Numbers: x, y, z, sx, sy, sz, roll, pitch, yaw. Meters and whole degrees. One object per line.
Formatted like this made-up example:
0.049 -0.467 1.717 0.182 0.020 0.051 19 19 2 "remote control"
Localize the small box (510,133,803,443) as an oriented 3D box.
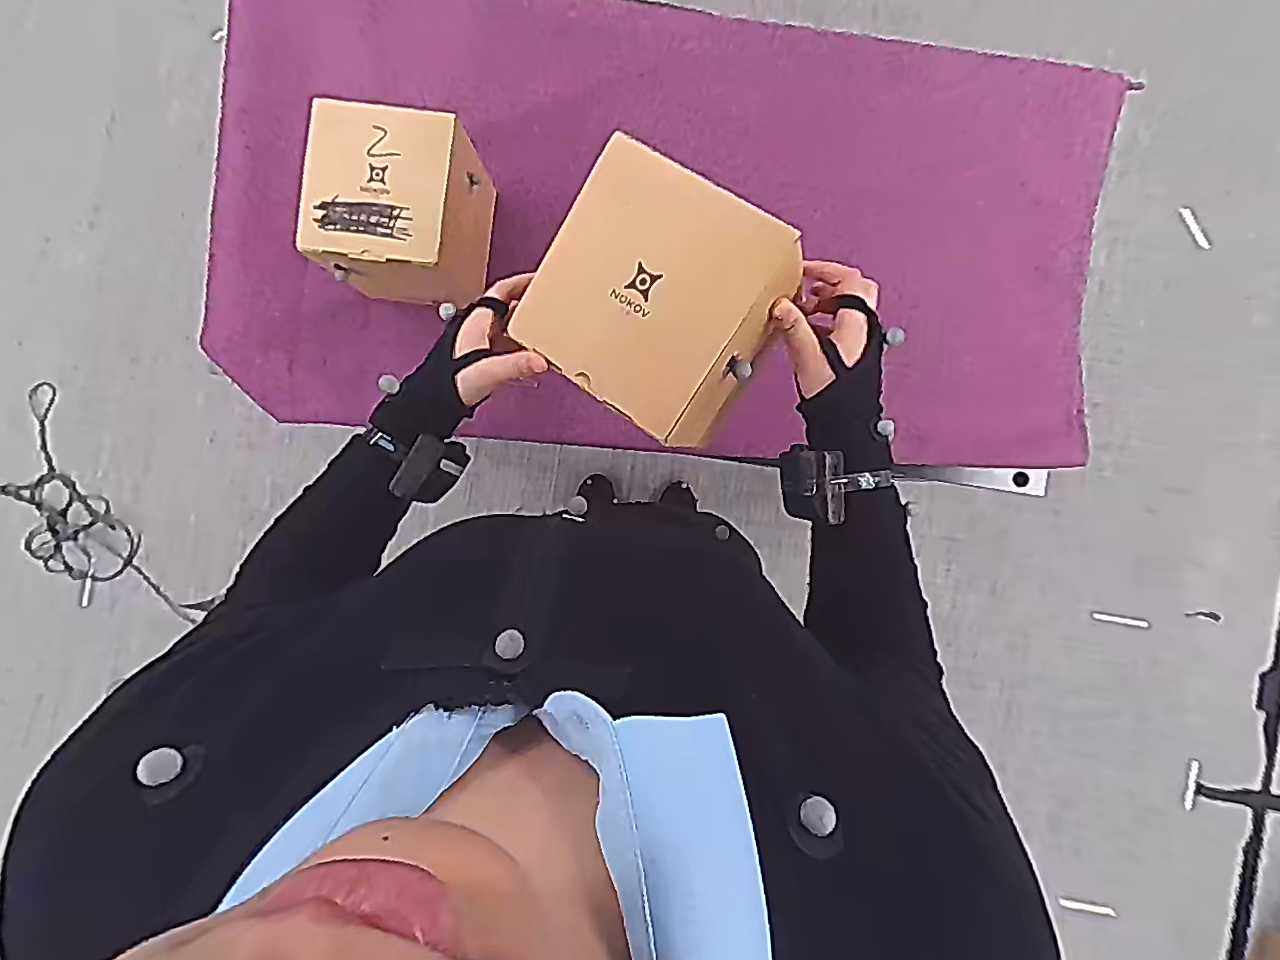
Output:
0.025 -0.149 0.480 0.168 0.176 0.179 35 103 13 "small box"
